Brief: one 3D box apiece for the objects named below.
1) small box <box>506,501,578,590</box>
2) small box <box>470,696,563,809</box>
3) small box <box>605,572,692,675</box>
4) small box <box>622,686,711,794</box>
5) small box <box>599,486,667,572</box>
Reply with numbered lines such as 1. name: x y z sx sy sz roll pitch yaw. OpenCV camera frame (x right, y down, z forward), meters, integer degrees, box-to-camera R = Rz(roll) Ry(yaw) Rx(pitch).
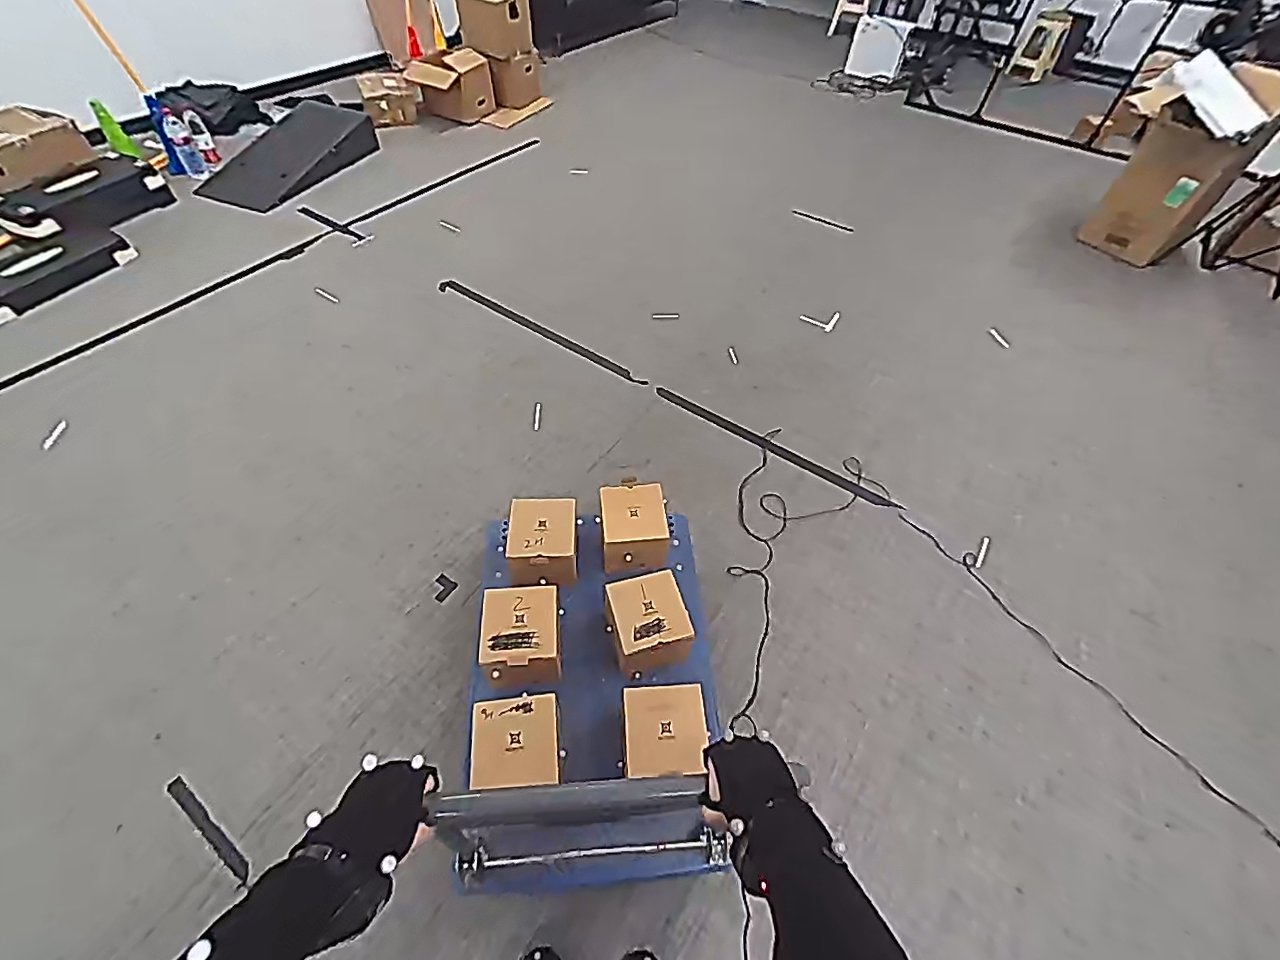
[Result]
1. small box: -0.251 0.173 1.423 0.168 0.176 0.179 0 53 -4
2. small box: -0.248 0.565 1.114 0.168 0.176 0.179 -4 53 -8
3. small box: 0.015 0.352 1.302 0.168 0.176 0.179 -11 52 -13
4. small box: 0.048 0.554 1.145 0.168 0.176 0.179 -1 51 -5
5. small box: -0.023 0.139 1.469 0.168 0.176 0.179 -4 52 -7
